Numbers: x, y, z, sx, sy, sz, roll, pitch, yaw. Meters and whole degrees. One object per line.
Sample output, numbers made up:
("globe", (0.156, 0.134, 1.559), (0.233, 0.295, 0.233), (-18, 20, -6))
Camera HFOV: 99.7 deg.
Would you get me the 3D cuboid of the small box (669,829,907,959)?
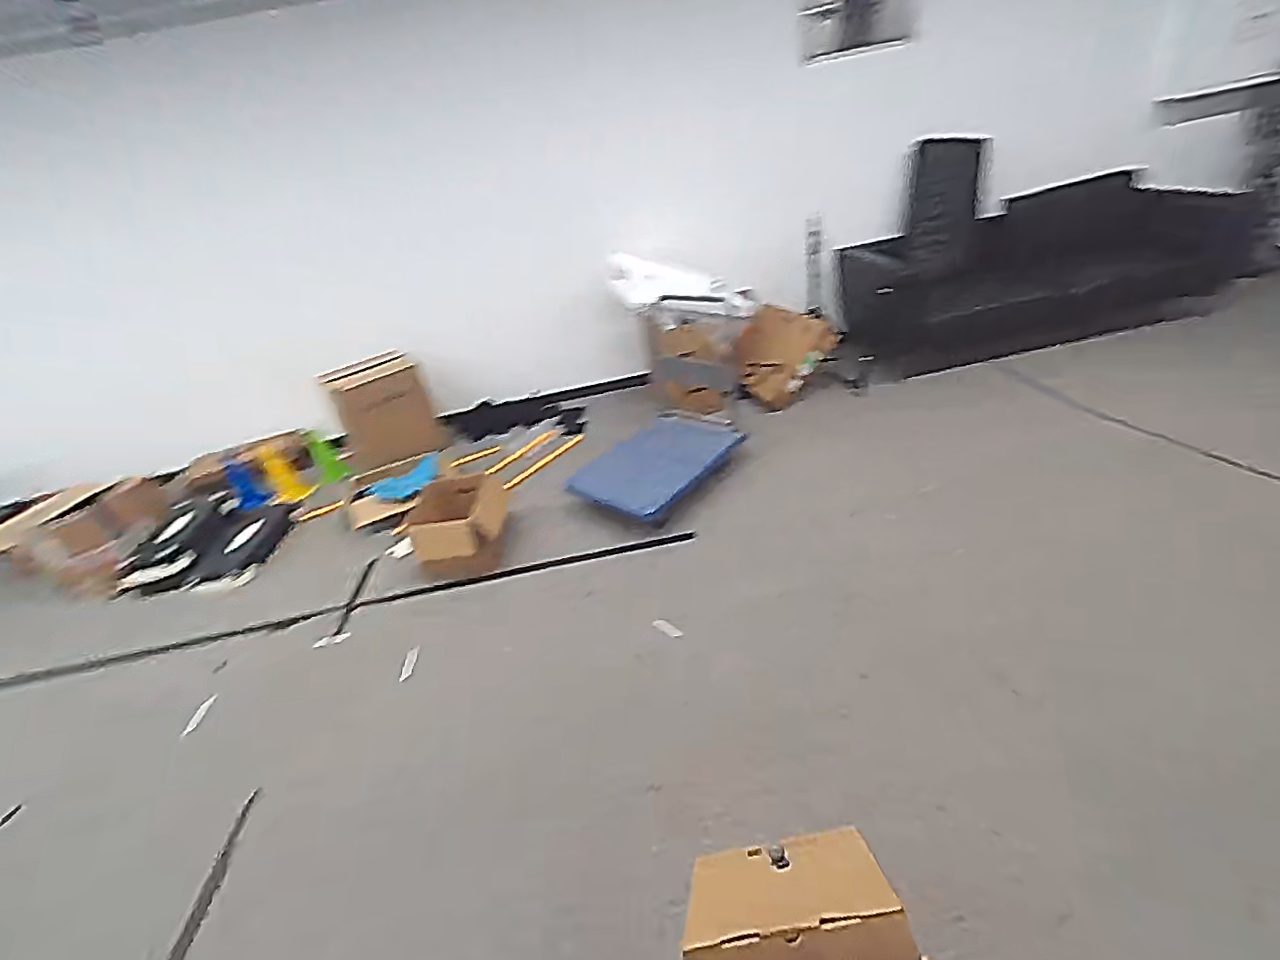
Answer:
("small box", (0.131, 0.421, 0.437), (0.168, 0.176, 0.179), (-16, 72, 5))
